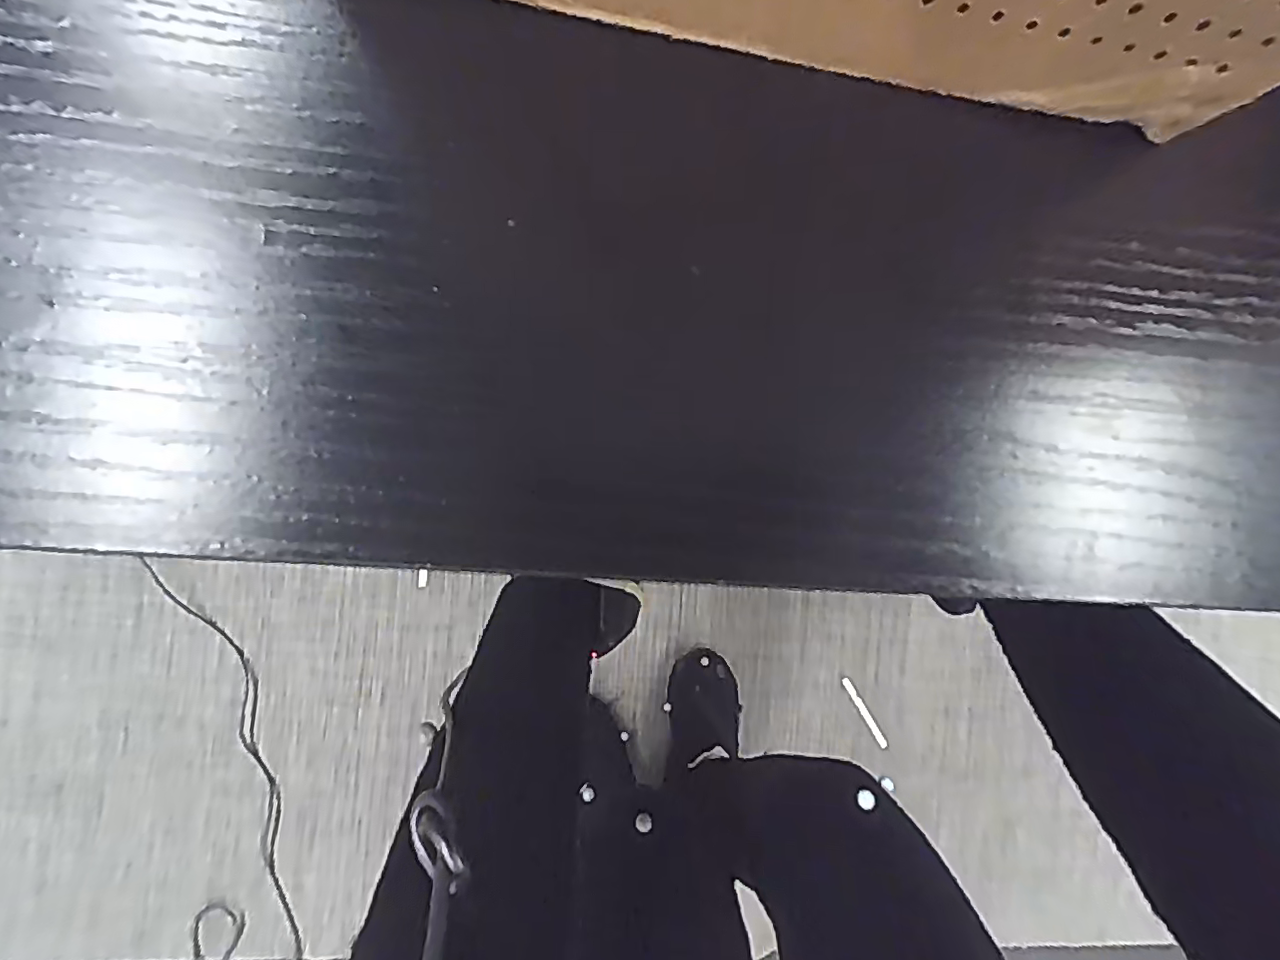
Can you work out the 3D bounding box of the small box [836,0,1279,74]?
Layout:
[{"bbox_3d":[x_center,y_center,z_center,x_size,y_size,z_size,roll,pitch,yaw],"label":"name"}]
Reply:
[{"bbox_3d":[0.053,-0.164,0.022,0.179,0.176,0.168,5,91,-9],"label":"small box"}]
